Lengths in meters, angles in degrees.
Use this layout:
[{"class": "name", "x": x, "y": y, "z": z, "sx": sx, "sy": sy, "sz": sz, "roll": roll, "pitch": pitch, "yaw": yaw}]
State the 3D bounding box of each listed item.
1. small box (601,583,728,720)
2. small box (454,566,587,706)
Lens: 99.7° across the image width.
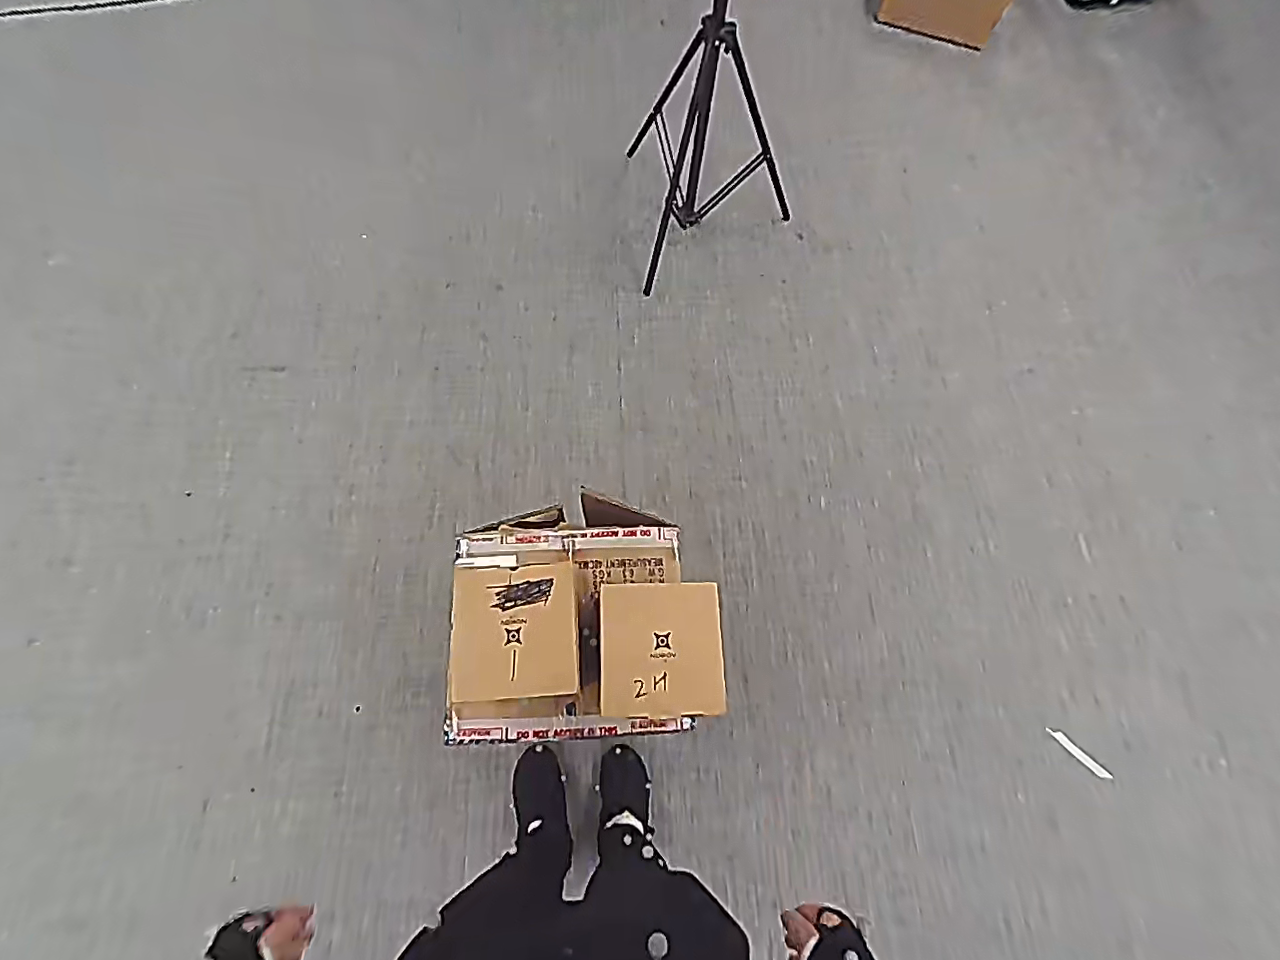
[{"class": "small box", "x": 0.026, "y": 0.254, "z": 0.803, "sx": 0.168, "sy": 0.176, "sz": 0.179, "roll": -1, "pitch": 71, "yaw": -4}, {"class": "small box", "x": -0.167, "y": 0.231, "z": 0.801, "sx": 0.168, "sy": 0.176, "sz": 0.179, "roll": -3, "pitch": 73, "yaw": -3}]
